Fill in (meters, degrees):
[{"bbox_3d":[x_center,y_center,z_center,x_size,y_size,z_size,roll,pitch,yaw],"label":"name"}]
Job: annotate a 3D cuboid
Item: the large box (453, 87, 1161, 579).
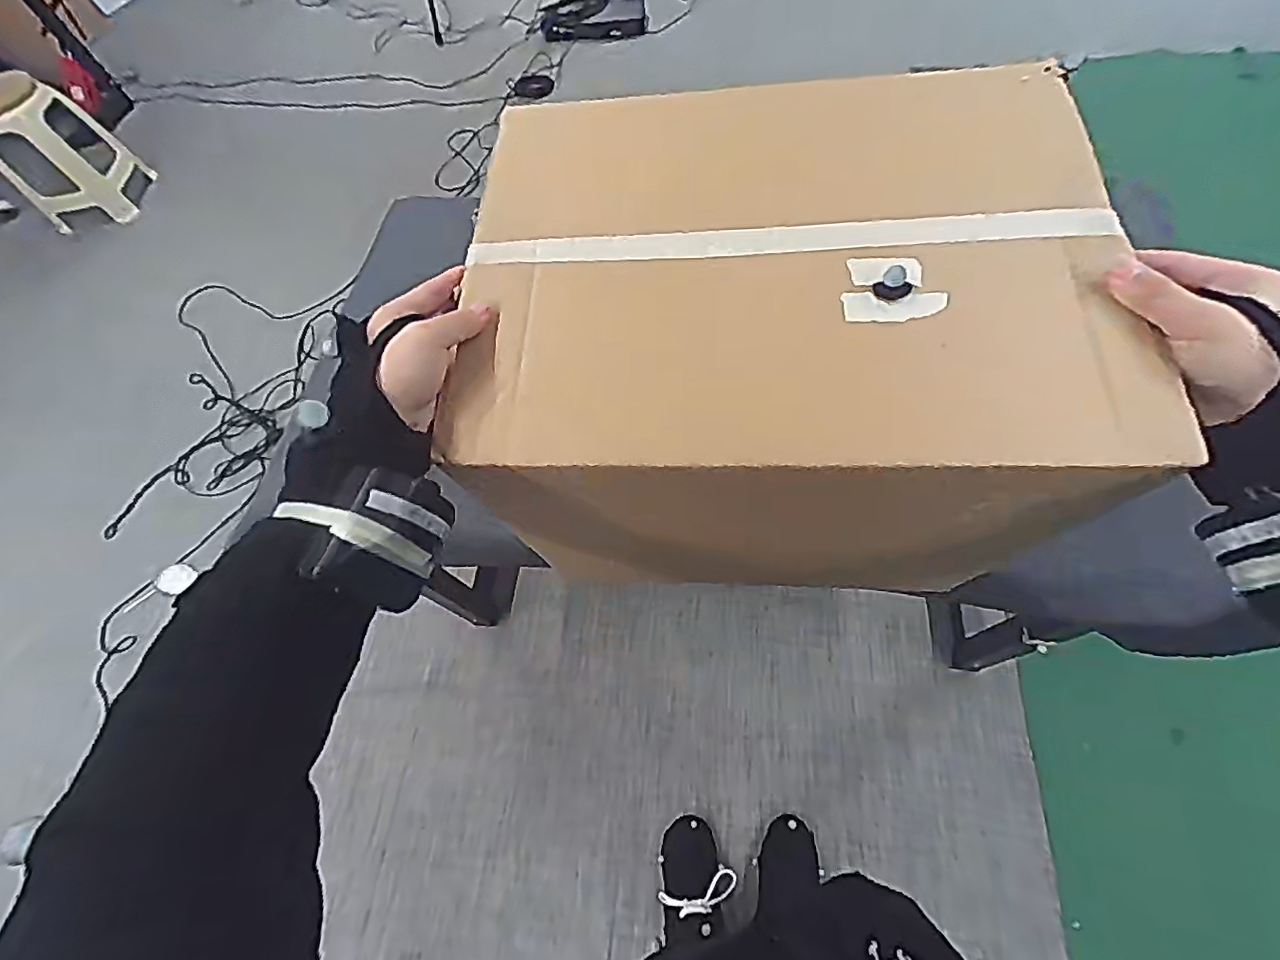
[{"bbox_3d":[0.100,-0.094,0.501,0.408,0.320,0.320,0,67,7],"label":"large box"}]
